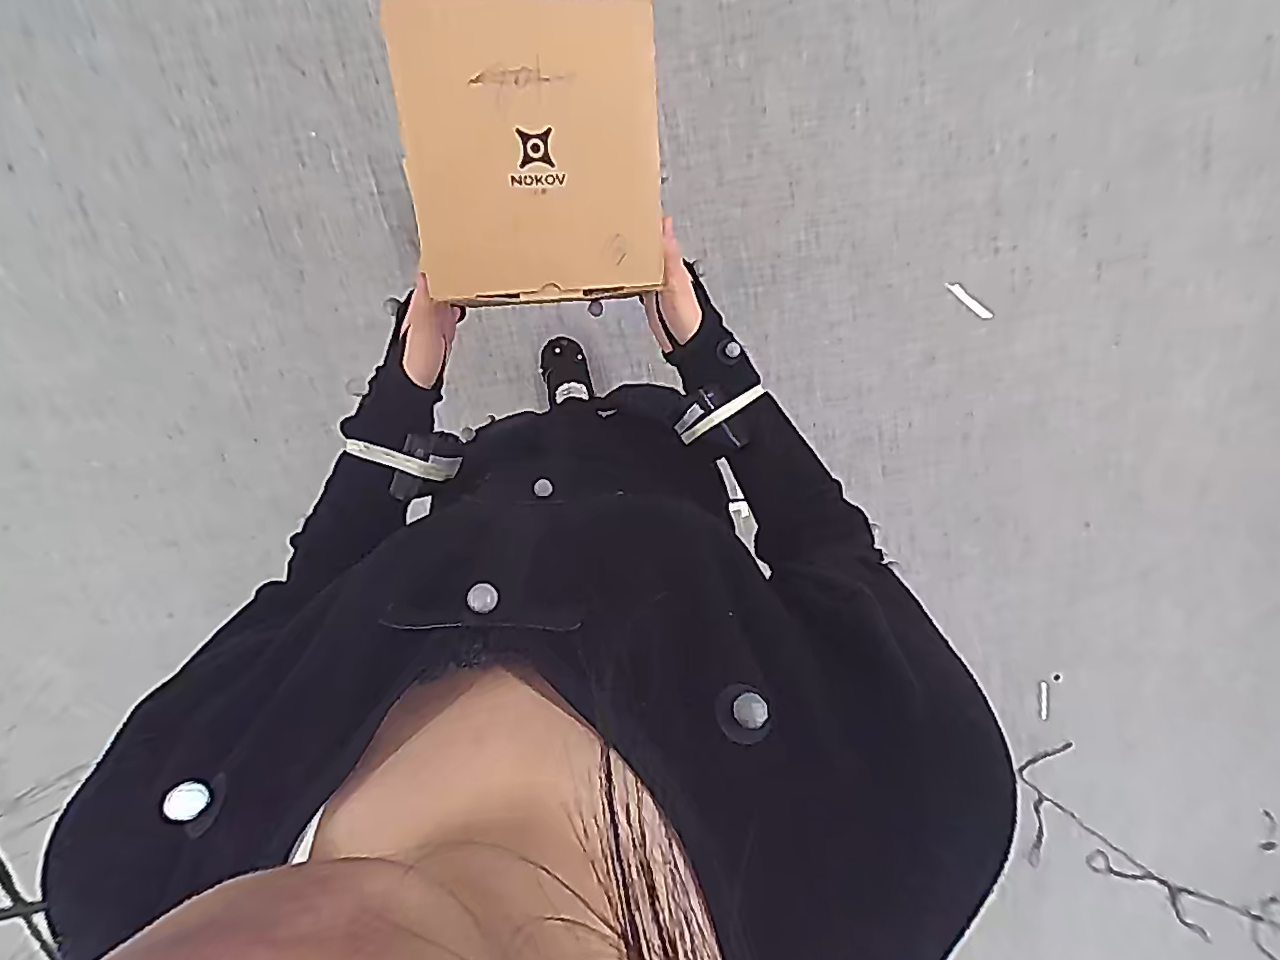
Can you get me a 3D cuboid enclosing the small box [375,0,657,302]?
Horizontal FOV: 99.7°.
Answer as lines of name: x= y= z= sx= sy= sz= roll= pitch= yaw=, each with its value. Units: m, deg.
small box: x=-0.084 y=-0.237 z=0.429 sx=0.168 sy=0.176 sz=0.179 roll=-7 pitch=107 yaw=-8
